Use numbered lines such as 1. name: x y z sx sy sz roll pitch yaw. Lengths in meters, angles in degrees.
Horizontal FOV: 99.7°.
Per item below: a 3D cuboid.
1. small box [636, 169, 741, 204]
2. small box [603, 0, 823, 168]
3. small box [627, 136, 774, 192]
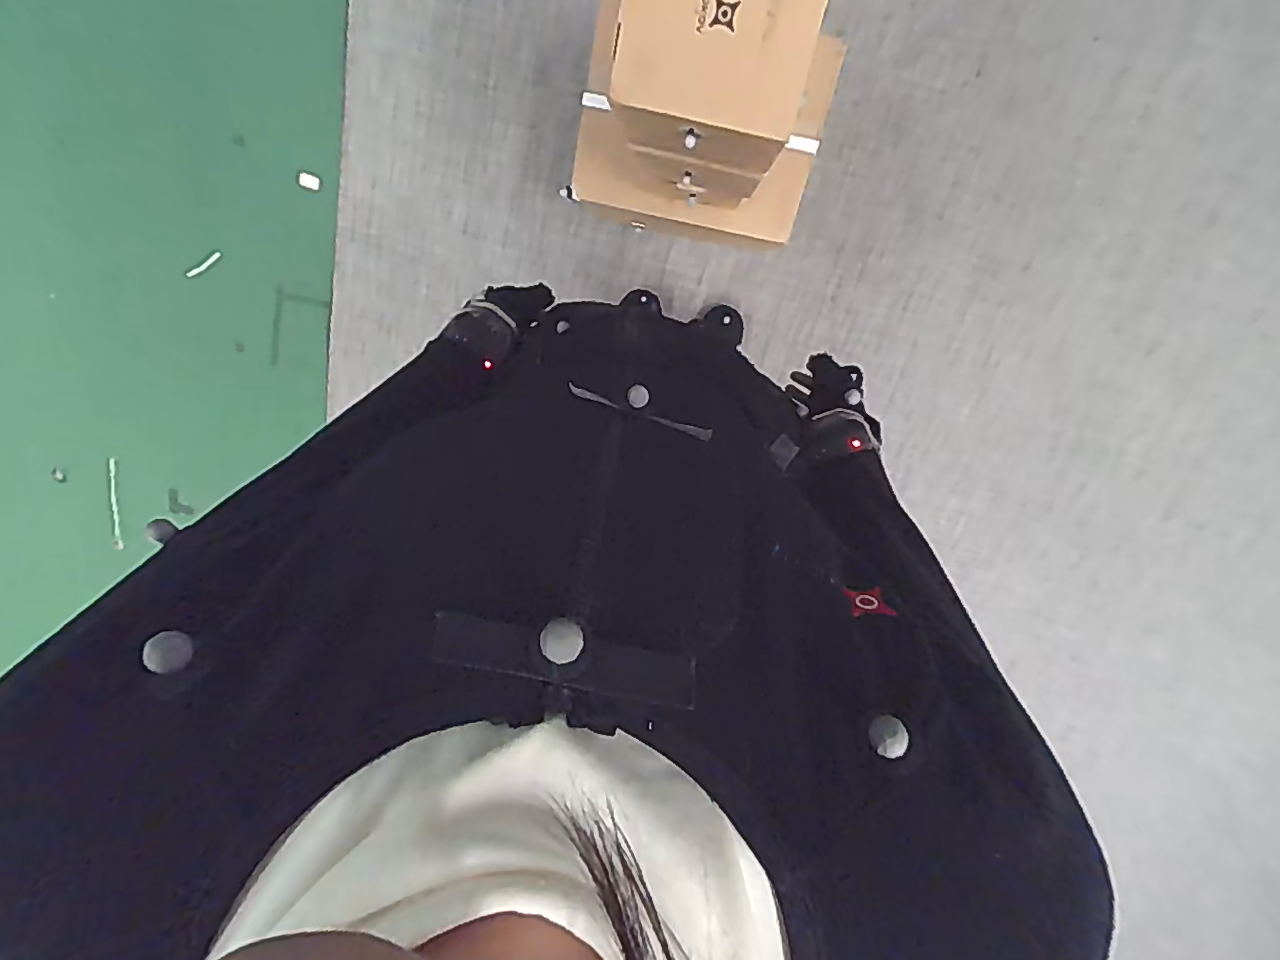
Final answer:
1. small box: 0.097 -0.547 0.849 0.168 0.176 0.179 12 111 2
2. small box: 0.074 -0.433 0.544 0.179 0.176 0.168 14 112 0
3. small box: 0.088 -0.483 0.698 0.179 0.176 0.168 11 111 1
